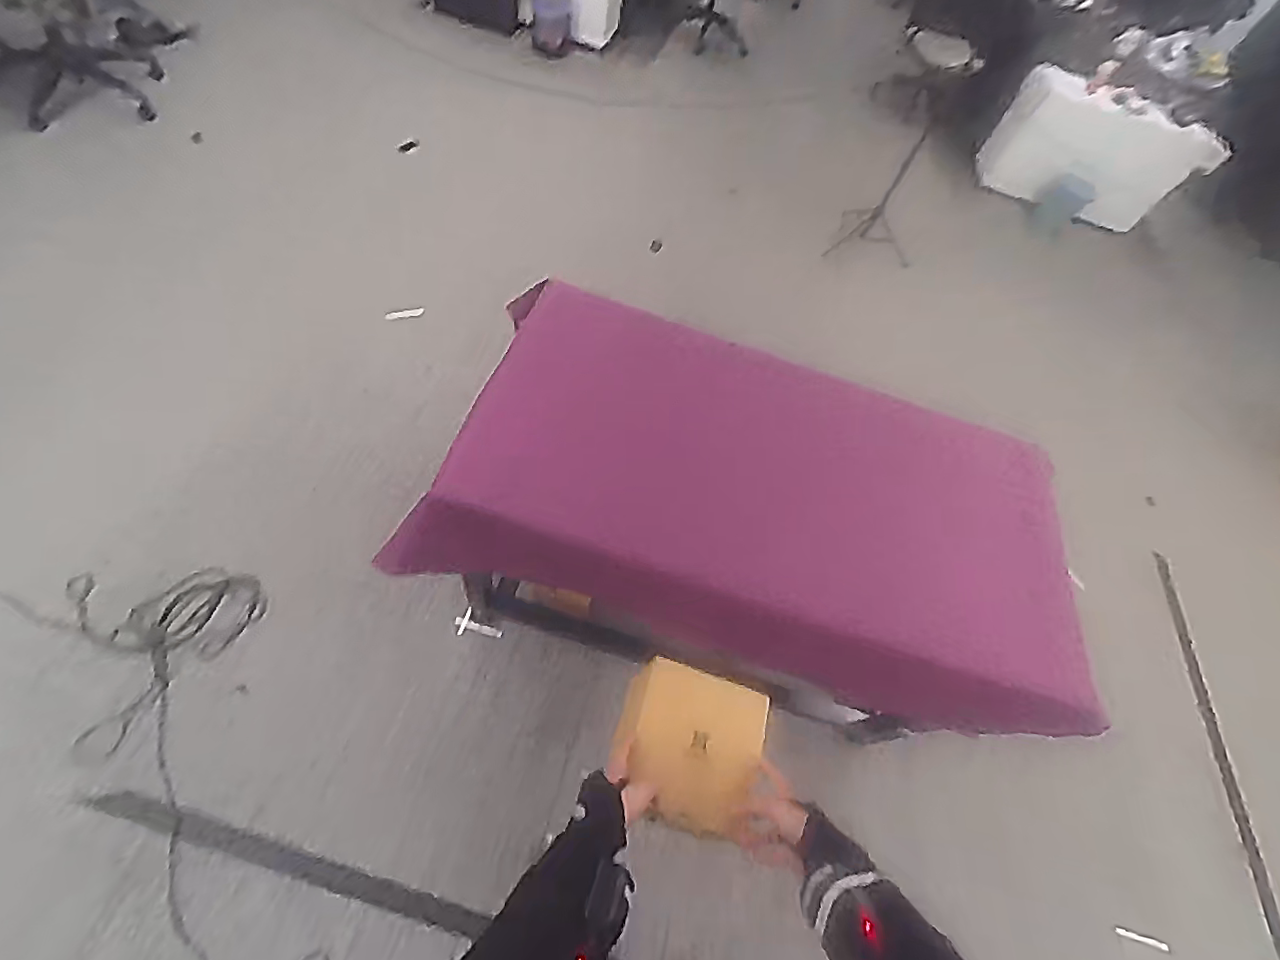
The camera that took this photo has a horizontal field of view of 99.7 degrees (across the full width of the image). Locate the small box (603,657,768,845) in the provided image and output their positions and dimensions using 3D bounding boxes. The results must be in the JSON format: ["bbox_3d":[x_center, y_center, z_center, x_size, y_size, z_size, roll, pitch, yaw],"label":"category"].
[{"bbox_3d":[0.057,0.371,0.741,0.168,0.176,0.179,20,57,-2],"label":"small box"}]
